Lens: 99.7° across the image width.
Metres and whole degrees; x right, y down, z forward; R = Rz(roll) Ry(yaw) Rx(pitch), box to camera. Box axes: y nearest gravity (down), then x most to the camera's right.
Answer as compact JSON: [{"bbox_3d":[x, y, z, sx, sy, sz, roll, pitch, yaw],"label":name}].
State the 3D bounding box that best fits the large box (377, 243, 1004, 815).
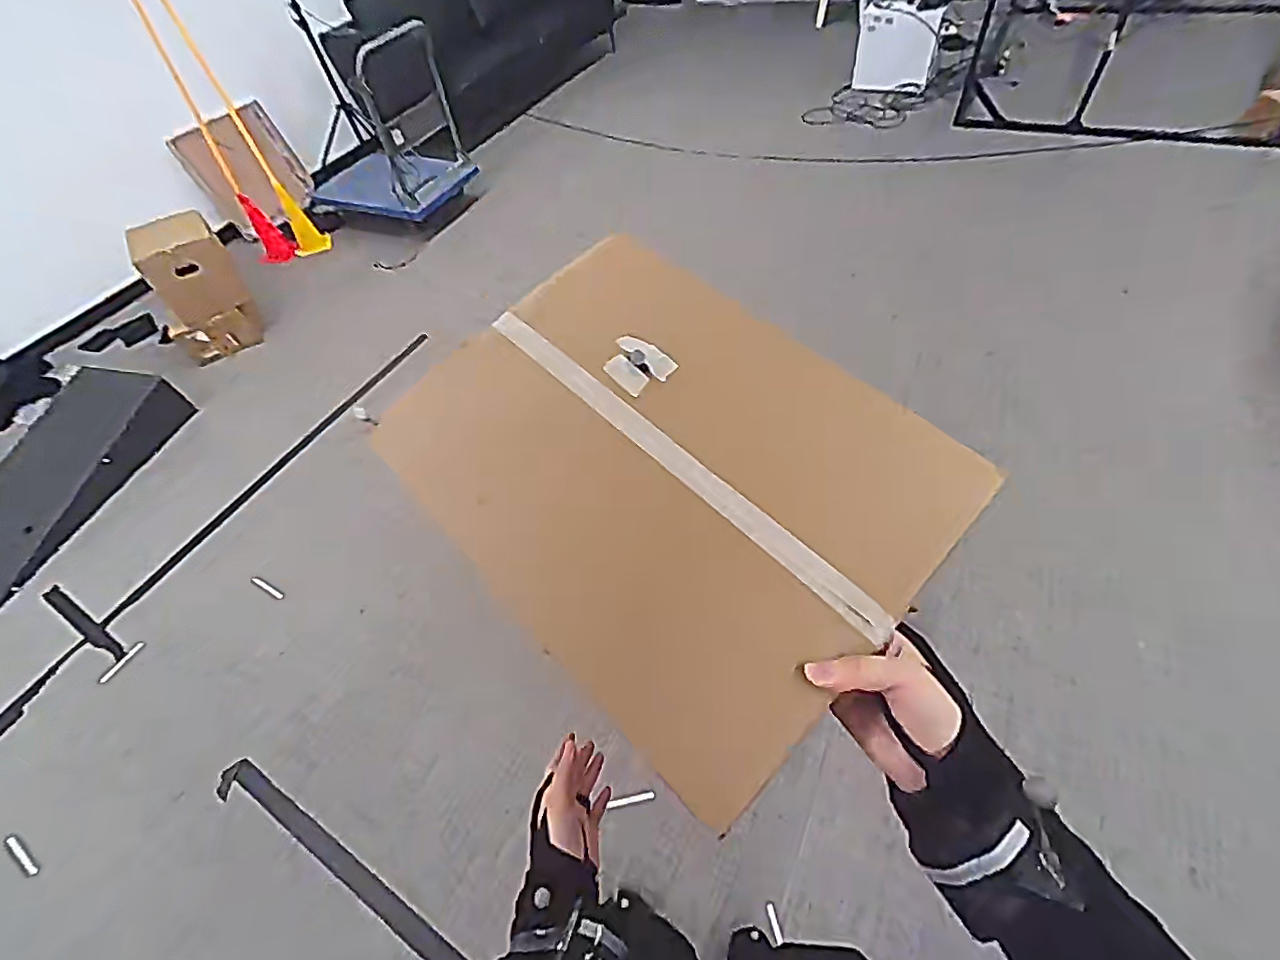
[{"bbox_3d":[0.037,0.046,0.555,0.320,0.320,0.408,-43,65,-14],"label":"large box"}]
